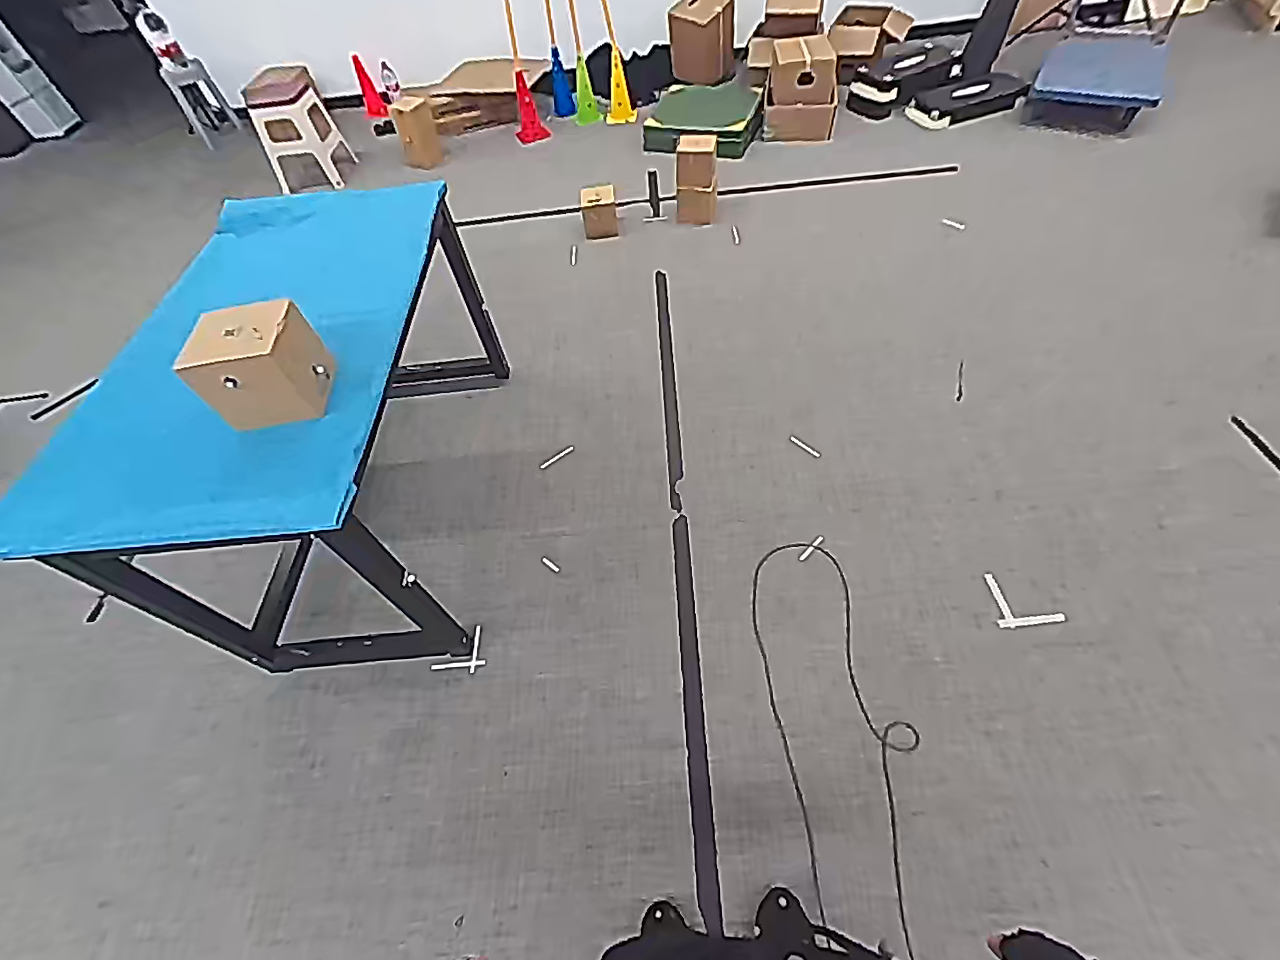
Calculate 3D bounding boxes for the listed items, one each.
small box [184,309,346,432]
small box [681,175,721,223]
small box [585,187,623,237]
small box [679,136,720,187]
[{"bbox_3d":[-0.722,-0.209,1.065,0.179,0.176,0.168,-6,54,0],"label":"small box"},{"bbox_3d":[0.308,-1.417,2.723,0.179,0.176,0.168,9,55,11],"label":"small box"},{"bbox_3d":[-0.181,-1.344,2.728,0.168,0.176,0.179,-6,52,3],"label":"small box"},{"bbox_3d":[0.288,-1.535,2.607,0.179,0.176,0.168,7,56,11],"label":"small box"}]
